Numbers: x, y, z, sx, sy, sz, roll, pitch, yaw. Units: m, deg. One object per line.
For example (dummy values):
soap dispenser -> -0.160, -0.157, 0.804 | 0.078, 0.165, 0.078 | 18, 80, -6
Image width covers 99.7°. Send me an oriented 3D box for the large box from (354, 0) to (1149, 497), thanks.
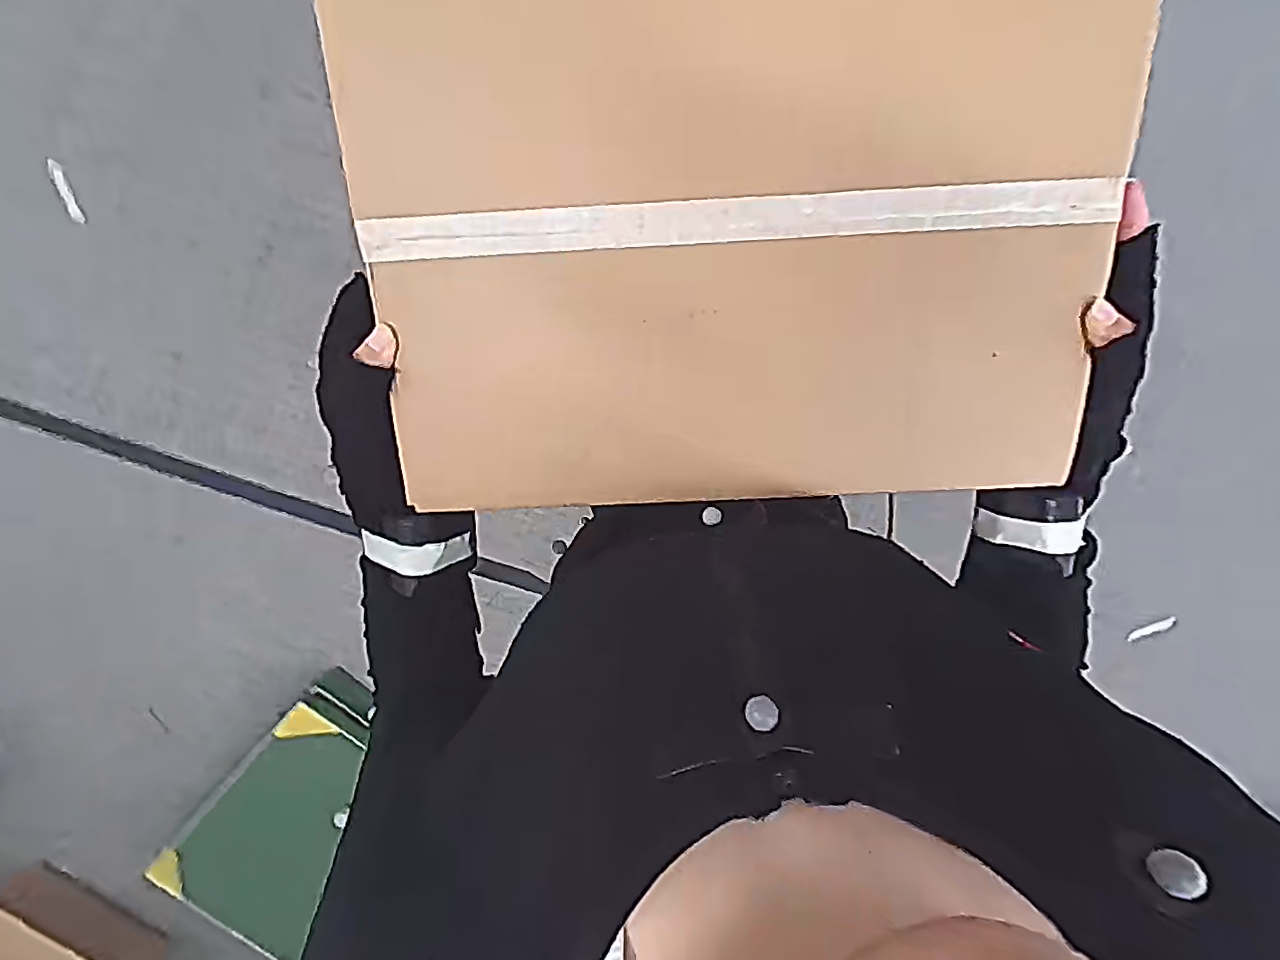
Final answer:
large box -> 0.057, -0.185, 0.442 | 0.408, 0.320, 0.320 | -1, 108, 0
